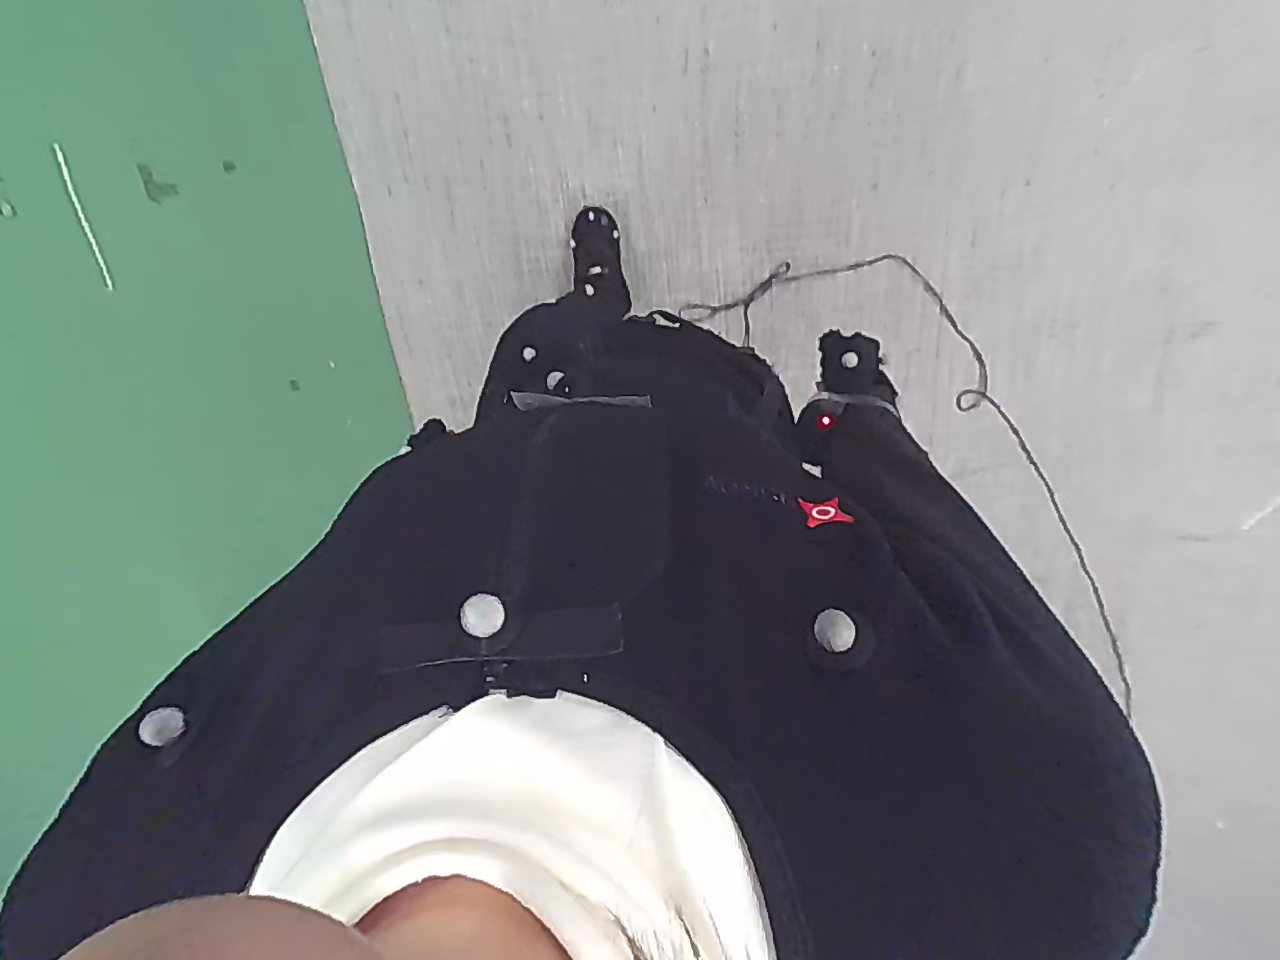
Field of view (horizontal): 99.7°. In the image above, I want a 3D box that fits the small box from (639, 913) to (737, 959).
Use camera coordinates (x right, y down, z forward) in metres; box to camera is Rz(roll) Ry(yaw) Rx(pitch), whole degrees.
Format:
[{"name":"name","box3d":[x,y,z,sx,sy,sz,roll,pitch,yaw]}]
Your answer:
[{"name":"small box","box3d":[0.090,0.887,0.920,0.168,0.176,0.179,-8,108,3]}]
